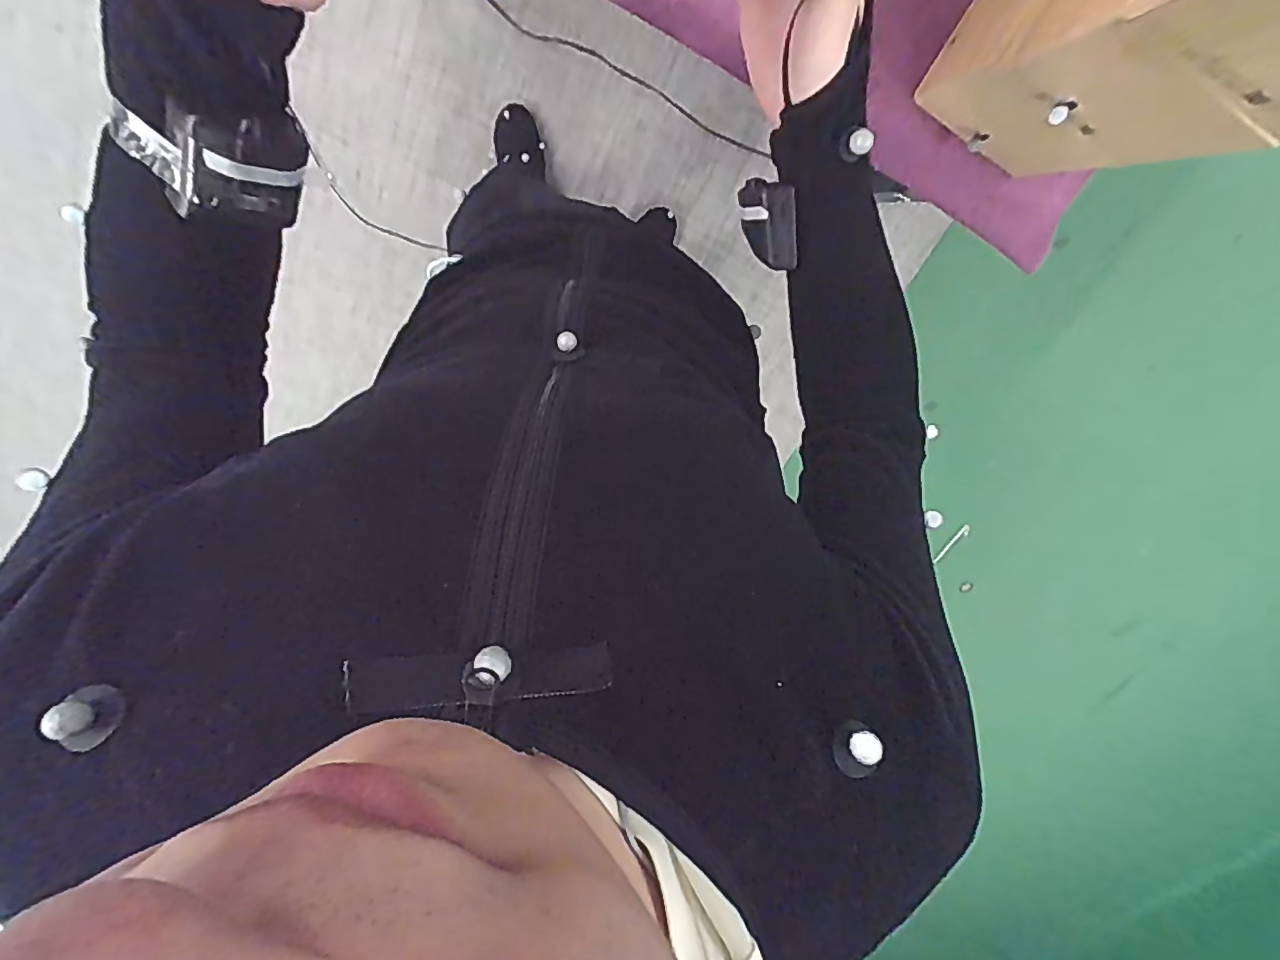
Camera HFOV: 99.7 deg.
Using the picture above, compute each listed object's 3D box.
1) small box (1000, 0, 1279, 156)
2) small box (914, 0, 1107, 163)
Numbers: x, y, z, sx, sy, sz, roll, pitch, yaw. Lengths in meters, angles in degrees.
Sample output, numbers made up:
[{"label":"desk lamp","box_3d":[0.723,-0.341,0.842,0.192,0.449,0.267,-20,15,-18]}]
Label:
[{"label":"small box","box_3d":[0.444,-0.393,0.428,0.168,0.176,0.179,27,114,-11]},{"label":"small box","box_3d":[0.442,-0.464,0.575,0.179,0.176,0.168,27,113,-12]}]
